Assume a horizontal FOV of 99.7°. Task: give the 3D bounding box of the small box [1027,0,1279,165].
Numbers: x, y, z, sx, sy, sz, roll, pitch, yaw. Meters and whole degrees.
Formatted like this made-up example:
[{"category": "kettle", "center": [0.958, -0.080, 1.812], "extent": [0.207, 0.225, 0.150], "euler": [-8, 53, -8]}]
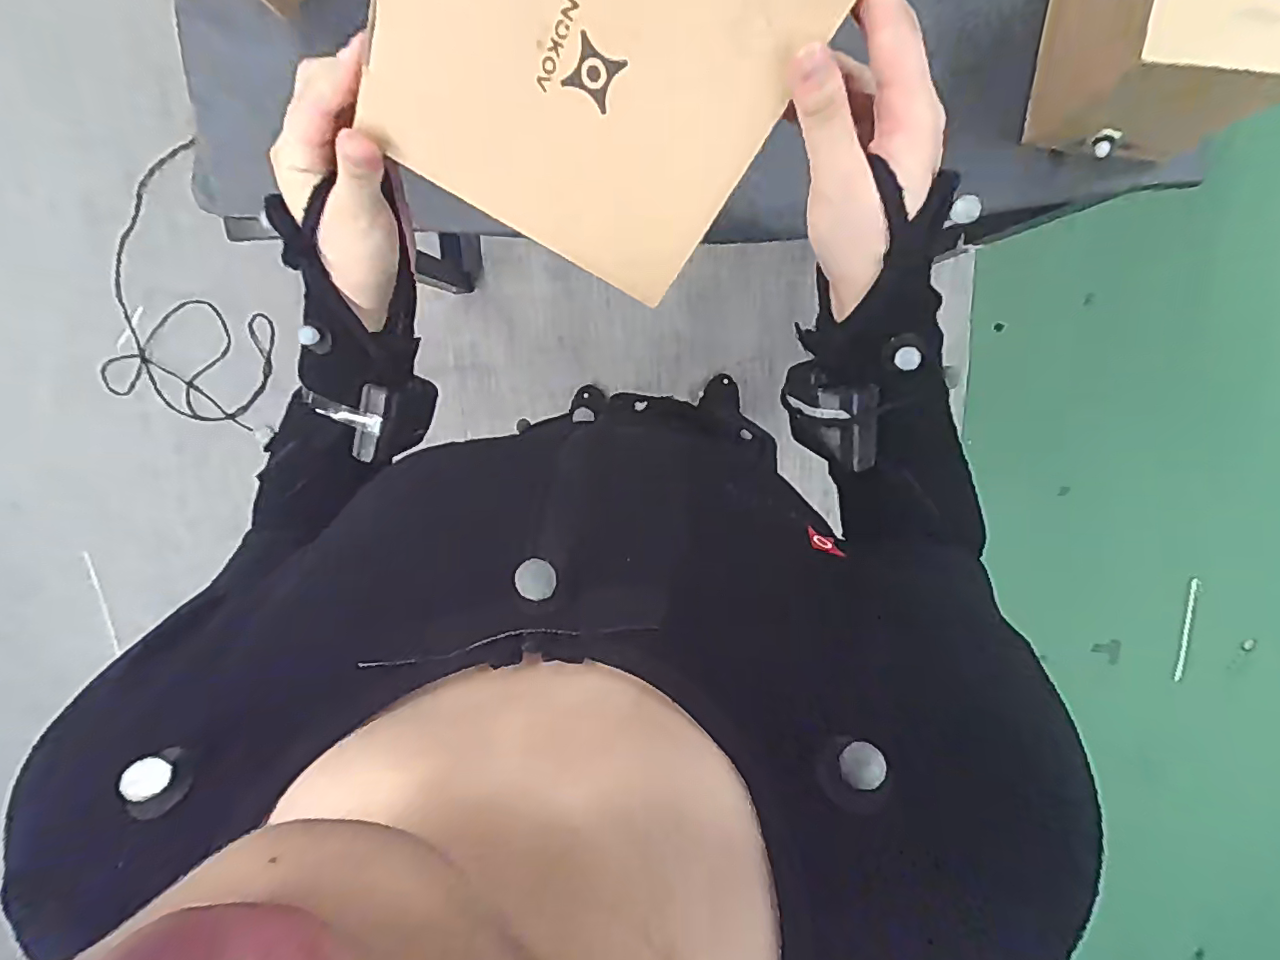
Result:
[{"category": "small box", "center": [0.529, -0.448, 0.536], "extent": [0.168, 0.176, 0.179], "euler": [7, 99, 3]}]
